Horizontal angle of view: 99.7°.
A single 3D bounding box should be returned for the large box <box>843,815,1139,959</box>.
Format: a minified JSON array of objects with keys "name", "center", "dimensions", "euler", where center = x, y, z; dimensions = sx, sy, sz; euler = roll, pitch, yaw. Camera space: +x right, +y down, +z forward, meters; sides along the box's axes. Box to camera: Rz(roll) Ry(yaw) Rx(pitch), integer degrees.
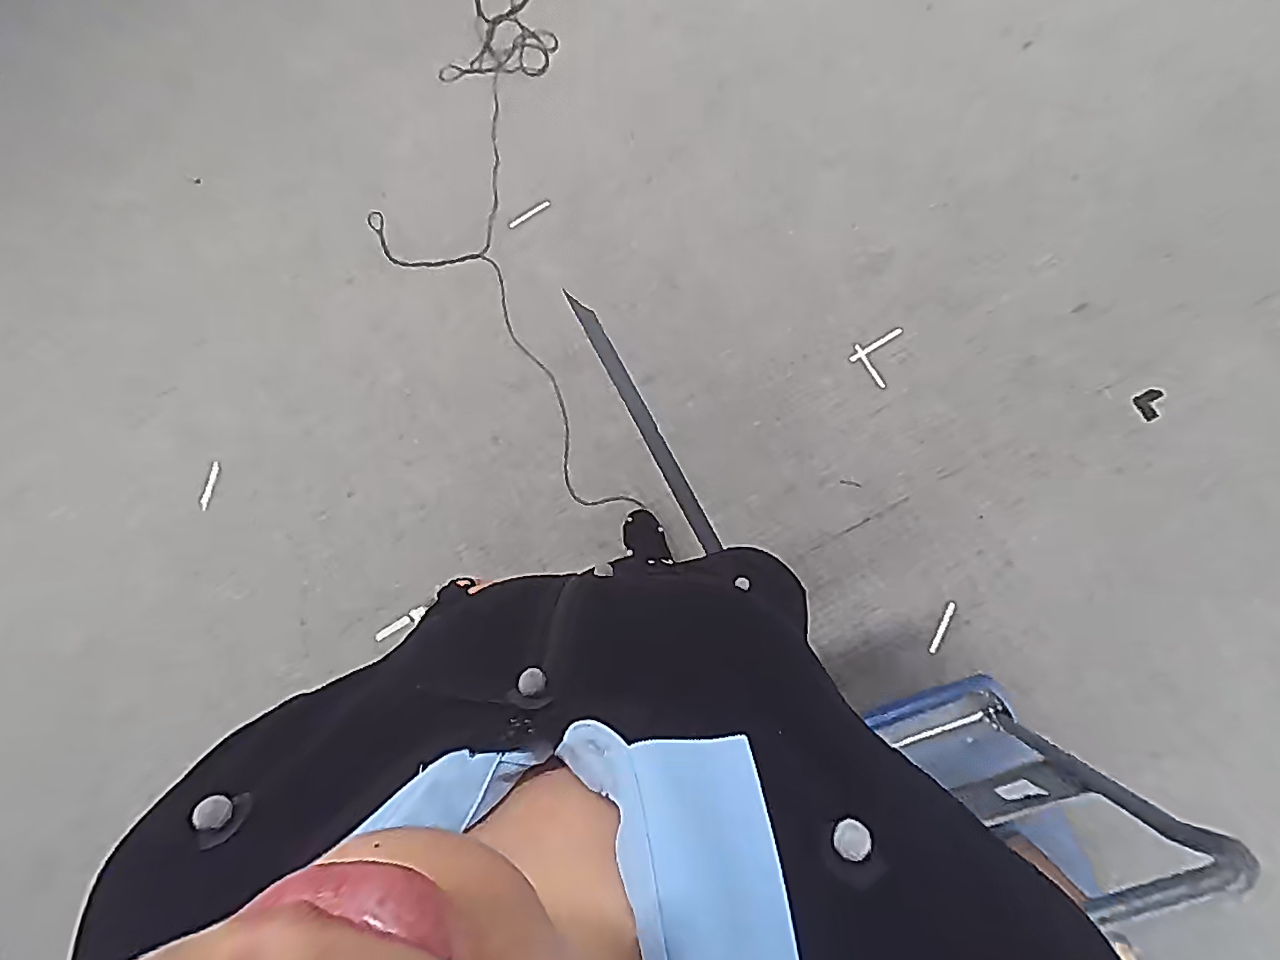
[{"name":"large box","center":[0.665,0.921,1.024],"dimensions":[0.408,0.320,0.320],"euler":[-23,83,5]}]
